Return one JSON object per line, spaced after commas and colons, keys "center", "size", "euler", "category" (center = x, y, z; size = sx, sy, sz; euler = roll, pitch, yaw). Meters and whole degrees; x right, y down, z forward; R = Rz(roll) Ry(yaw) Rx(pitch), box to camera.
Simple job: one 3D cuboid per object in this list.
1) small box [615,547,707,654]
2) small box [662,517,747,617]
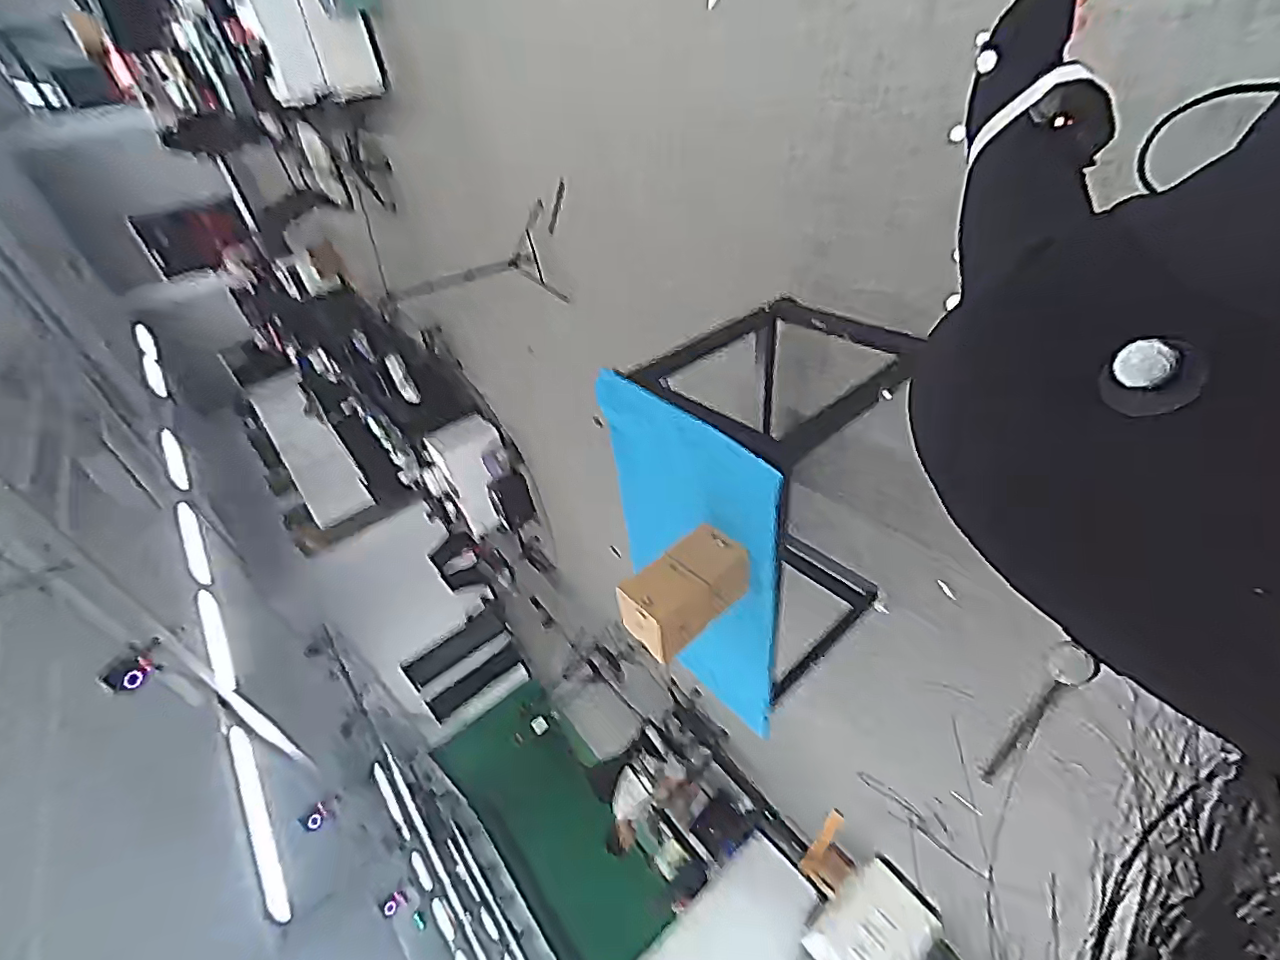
{"center": [0.061, 0.312, 1.423], "size": [0.168, 0.176, 0.179], "euler": [32, 142, 43], "category": "small box"}
{"center": [0.182, 0.239, 1.504], "size": [0.168, 0.176, 0.179], "euler": [34, 145, 39], "category": "small box"}
